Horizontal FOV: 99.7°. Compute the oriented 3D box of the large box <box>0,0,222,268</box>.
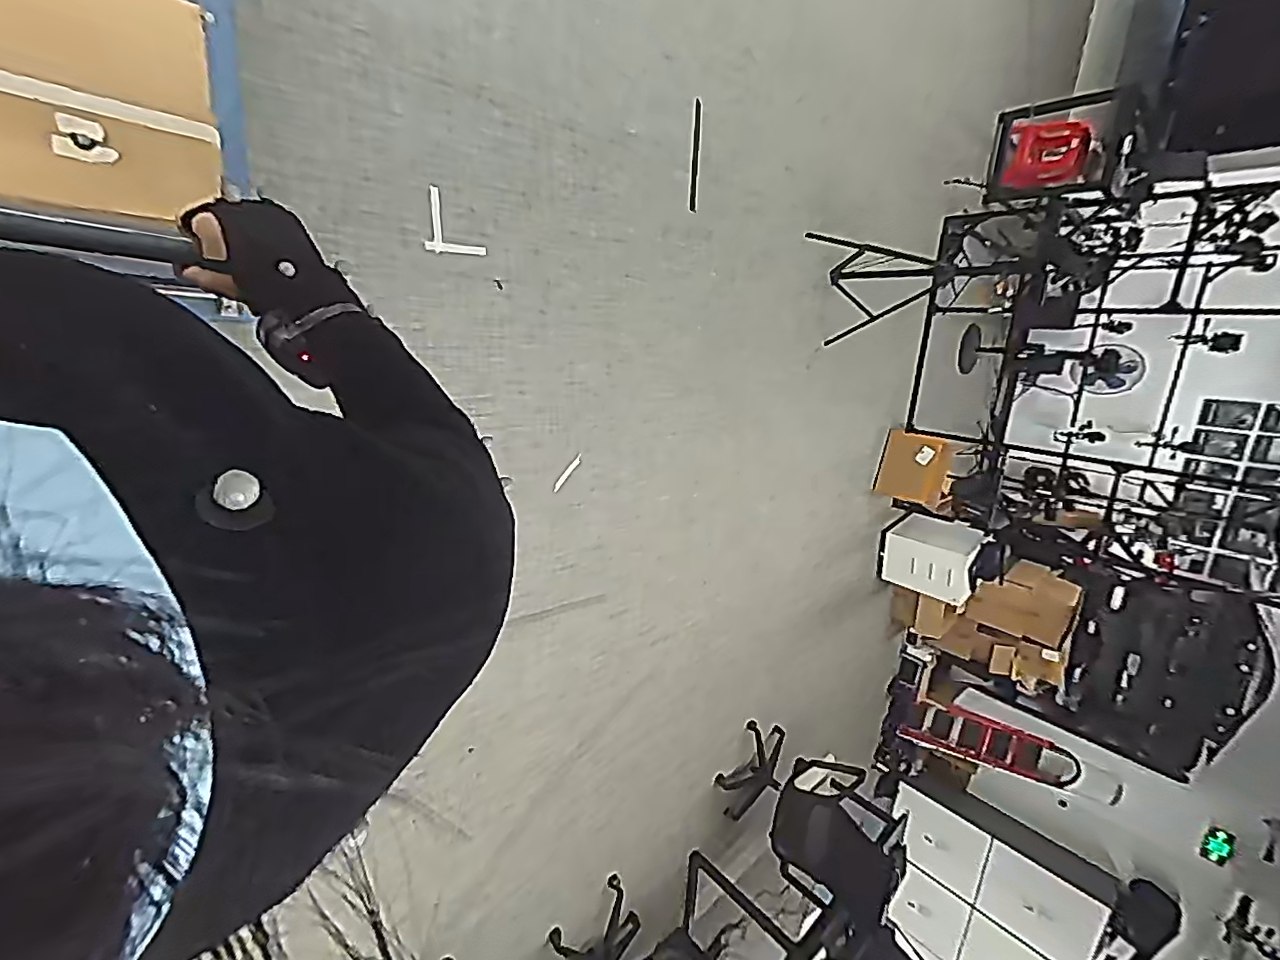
[{"bbox_3d":[-0.845,-0.477,0.715,0.408,0.320,0.320,-9,109,-44],"label":"large box"}]
